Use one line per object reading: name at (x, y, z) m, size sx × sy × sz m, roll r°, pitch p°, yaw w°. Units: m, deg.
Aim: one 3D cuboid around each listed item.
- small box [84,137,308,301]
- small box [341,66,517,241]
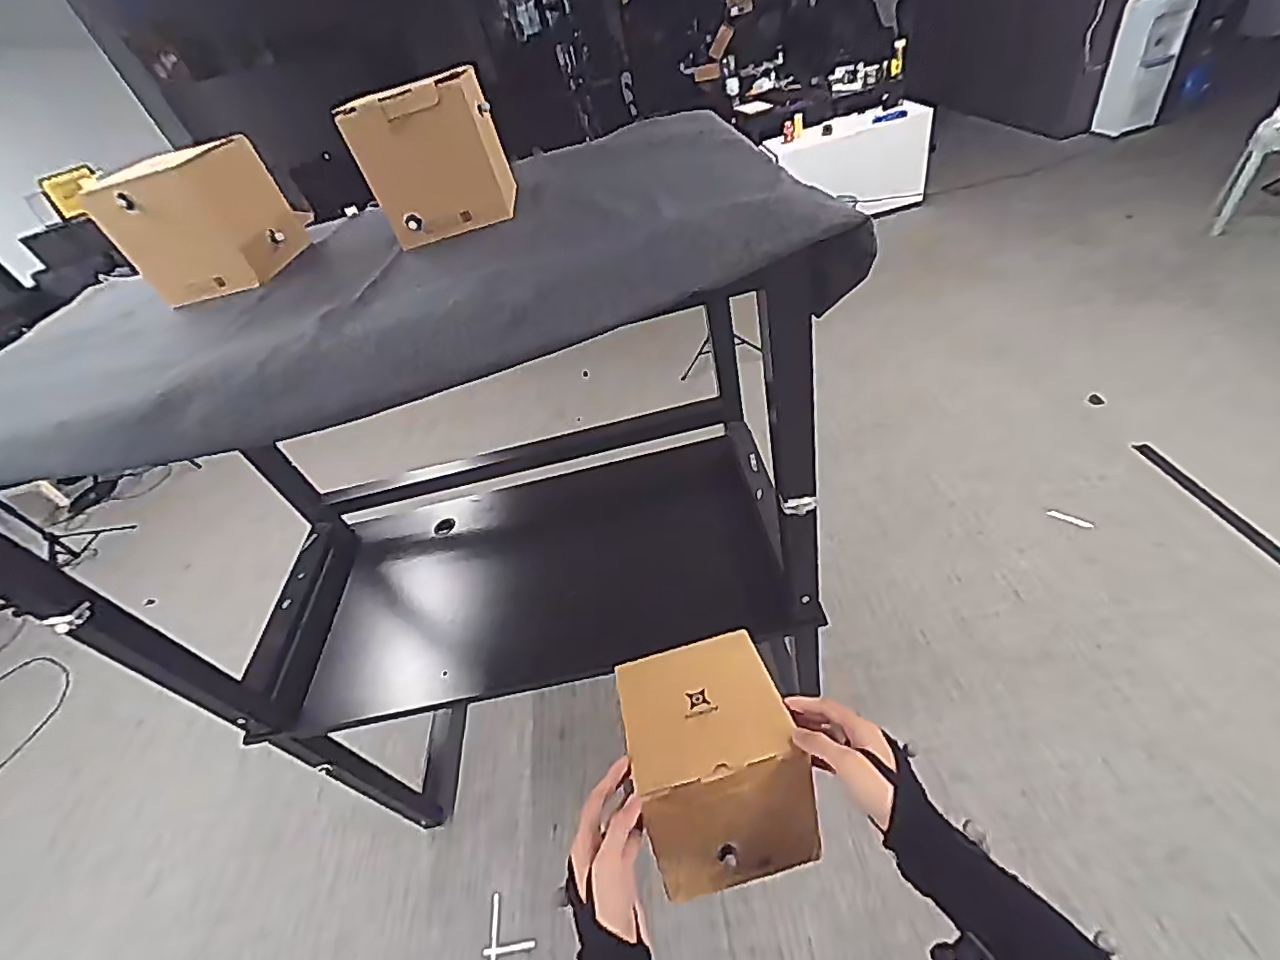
small box at (-0.654, -0.398, 0.829) m, size 0.168 × 0.176 × 0.179 m, roll -10°, pitch 42°, yaw 8°
small box at (-0.285, -0.464, 0.778) m, size 0.168 × 0.176 × 0.179 m, roll -15°, pitch 41°, yaw 3°
